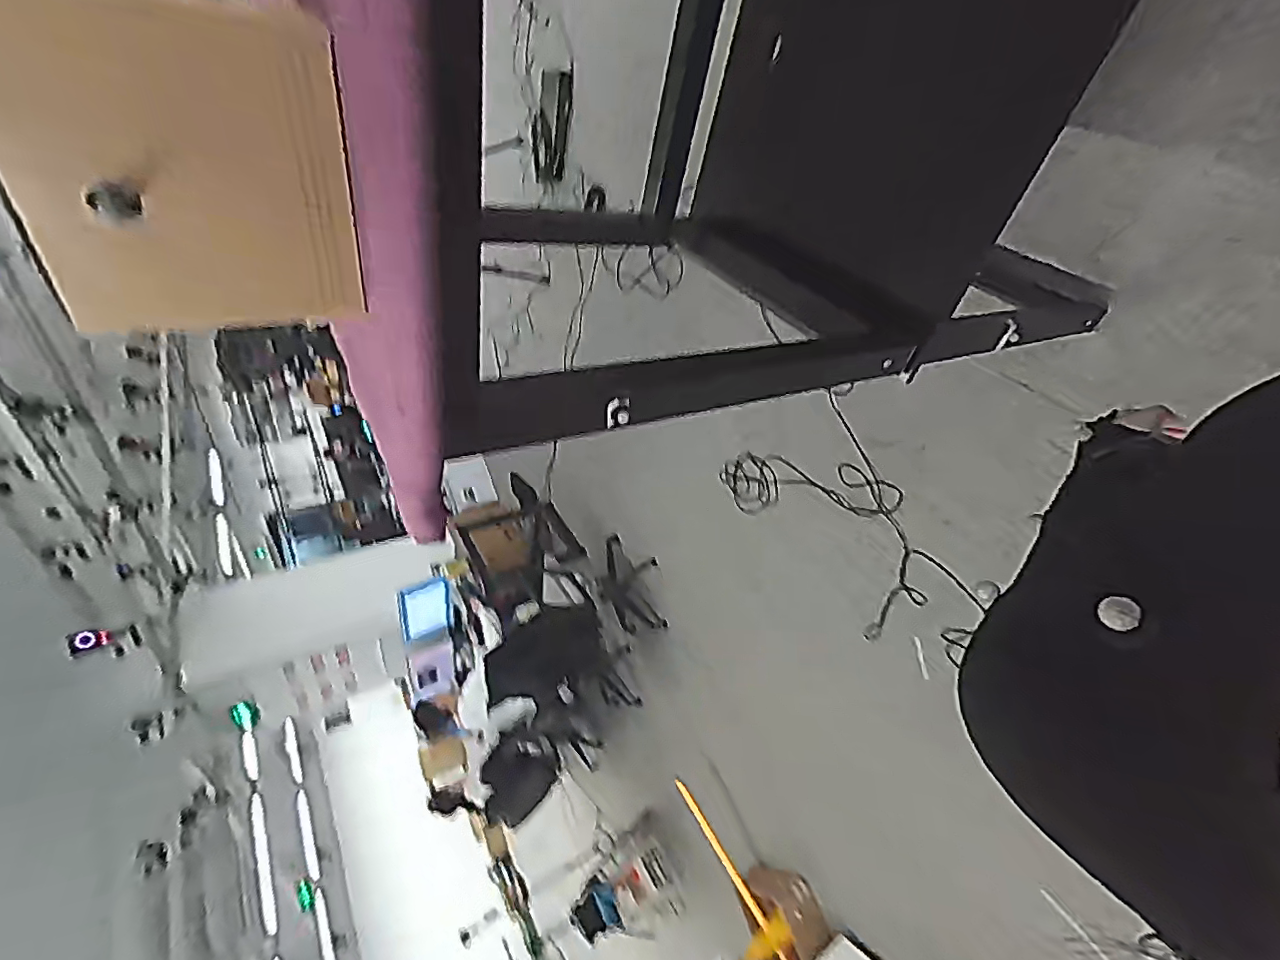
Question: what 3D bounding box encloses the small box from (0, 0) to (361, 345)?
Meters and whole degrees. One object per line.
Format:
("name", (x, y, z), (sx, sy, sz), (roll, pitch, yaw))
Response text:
("small box", (-0.304, -0.215, 0.369), (0.168, 0.176, 0.179), (48, 140, 35))
